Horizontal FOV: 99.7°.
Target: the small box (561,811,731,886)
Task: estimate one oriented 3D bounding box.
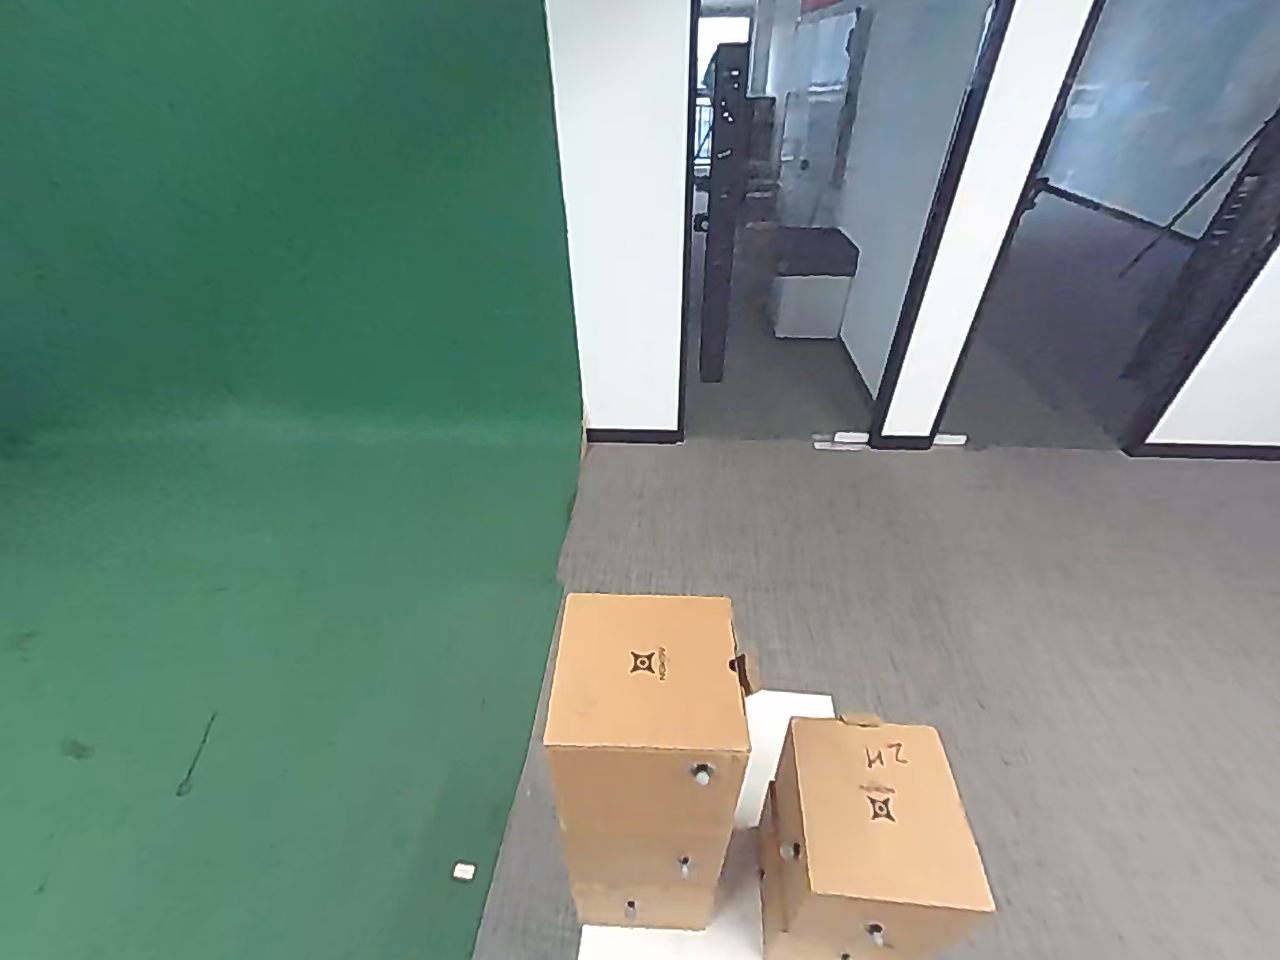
[{"bbox_3d":[0.006,0.369,0.658,0.179,0.176,0.168,1,37,0],"label":"small box"}]

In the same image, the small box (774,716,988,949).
[{"bbox_3d":[0.250,0.399,0.614,0.168,0.176,0.179,3,38,5],"label":"small box"}]

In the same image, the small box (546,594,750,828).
[{"bbox_3d":[0.008,0.238,0.561,0.179,0.176,0.168,2,38,0],"label":"small box"}]
